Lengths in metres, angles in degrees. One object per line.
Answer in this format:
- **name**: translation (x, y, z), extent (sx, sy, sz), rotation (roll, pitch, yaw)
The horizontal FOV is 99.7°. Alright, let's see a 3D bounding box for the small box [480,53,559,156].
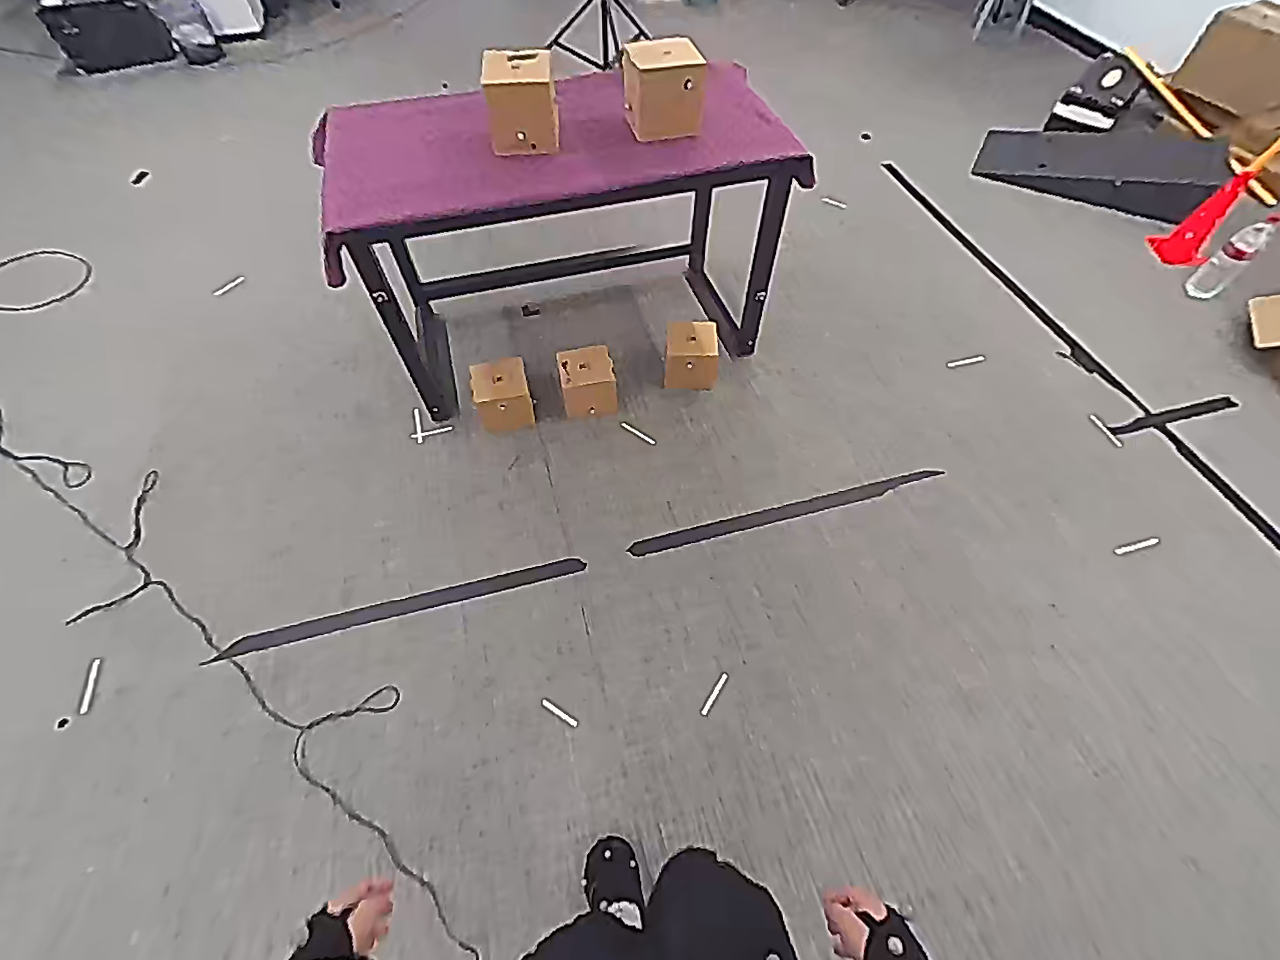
- **small box**: translation (-0.302, -0.958, 1.383), extent (0.168, 0.176, 0.179), rotation (-4, 58, -2)

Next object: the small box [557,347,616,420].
- **small box**: translation (-0.180, -0.326, 1.845), extent (0.179, 0.176, 0.168), rotation (-10, 58, -6)

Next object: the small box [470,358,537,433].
- **small box**: translation (-0.457, -0.279, 1.817), extent (0.179, 0.176, 0.168), rotation (-12, 60, -8)

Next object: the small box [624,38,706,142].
- **small box**: translation (0.060, -1.022, 1.421), extent (0.179, 0.176, 0.168), rotation (-13, 57, -7)

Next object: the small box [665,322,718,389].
- **small box**: translation (0.177, -0.437, 1.916), extent (0.179, 0.176, 0.168), rotation (0, 58, 2)
